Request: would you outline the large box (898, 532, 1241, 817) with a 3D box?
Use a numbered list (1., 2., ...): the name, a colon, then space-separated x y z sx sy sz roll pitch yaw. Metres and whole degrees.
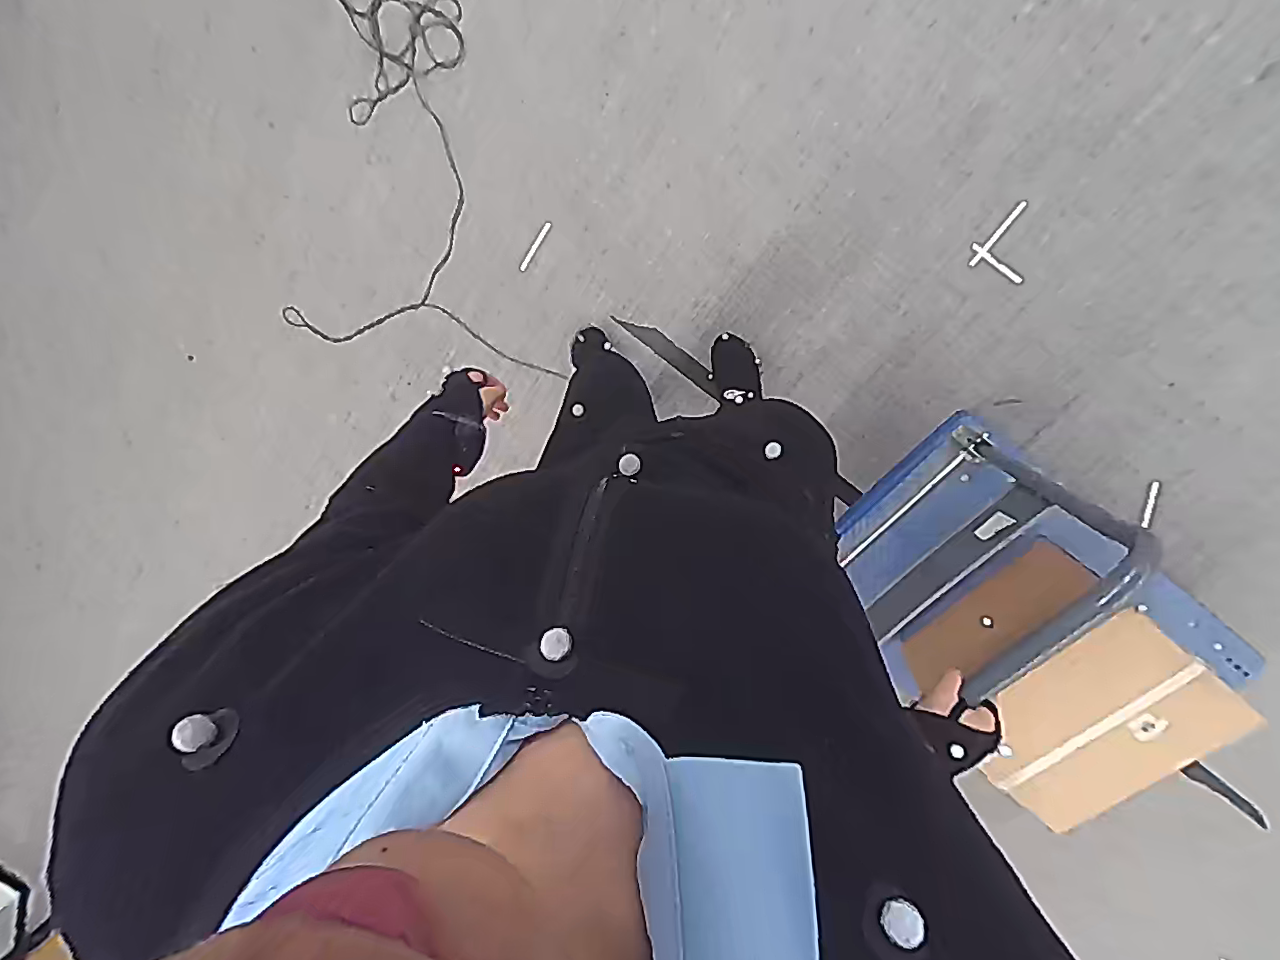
1. large box: 0.837 0.387 1.136 0.320 0.320 0.408 40 109 -2
